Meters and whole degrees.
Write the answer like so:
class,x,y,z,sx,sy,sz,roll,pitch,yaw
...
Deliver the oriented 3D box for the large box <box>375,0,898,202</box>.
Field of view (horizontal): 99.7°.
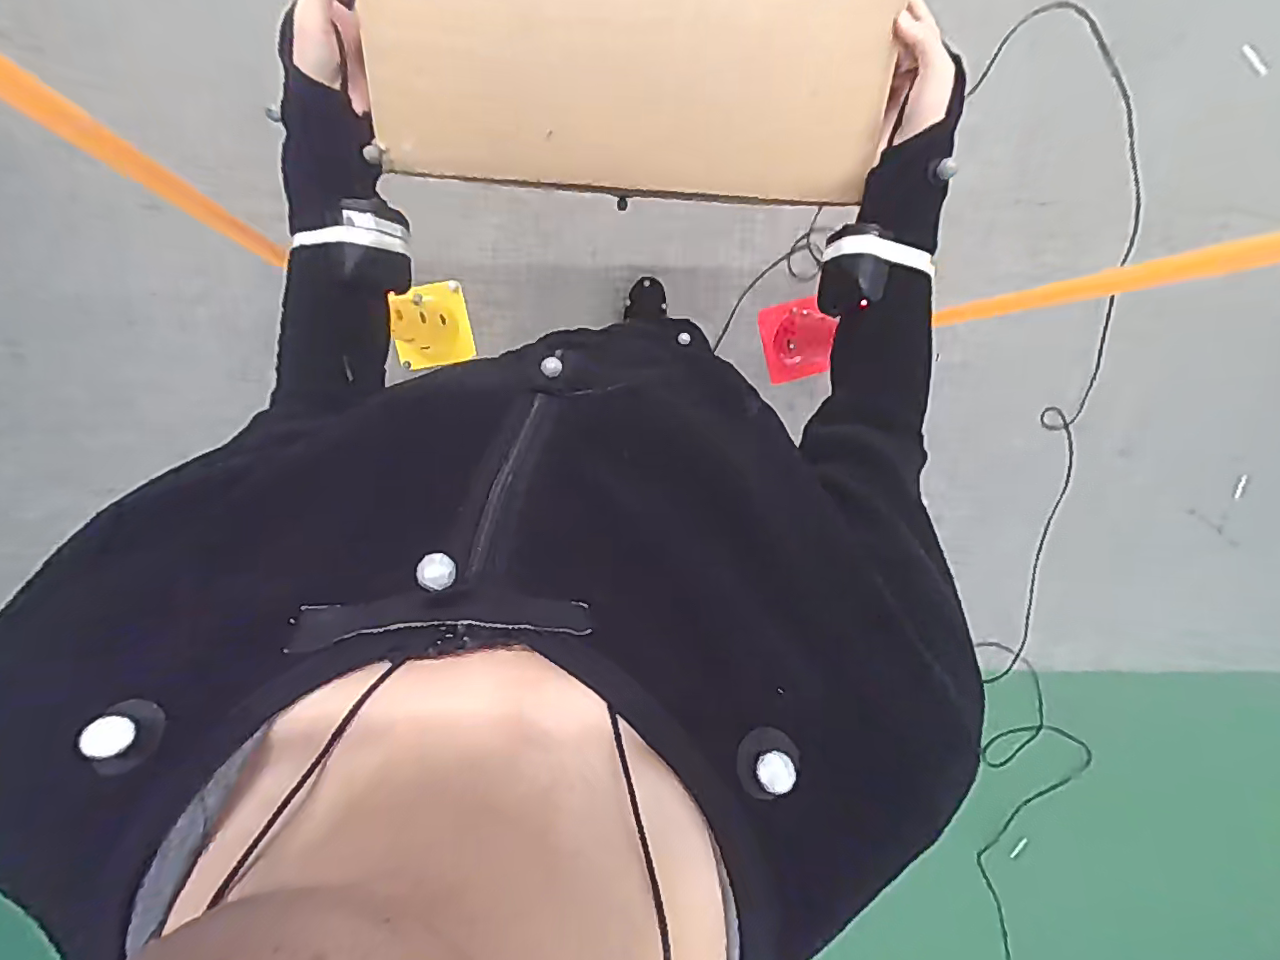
class,x,y,z,sx,sy,sz,roll,pitch,yaw
large box,-0.004,-0.454,0.527,0.408,0.320,0.320,1,116,-5
